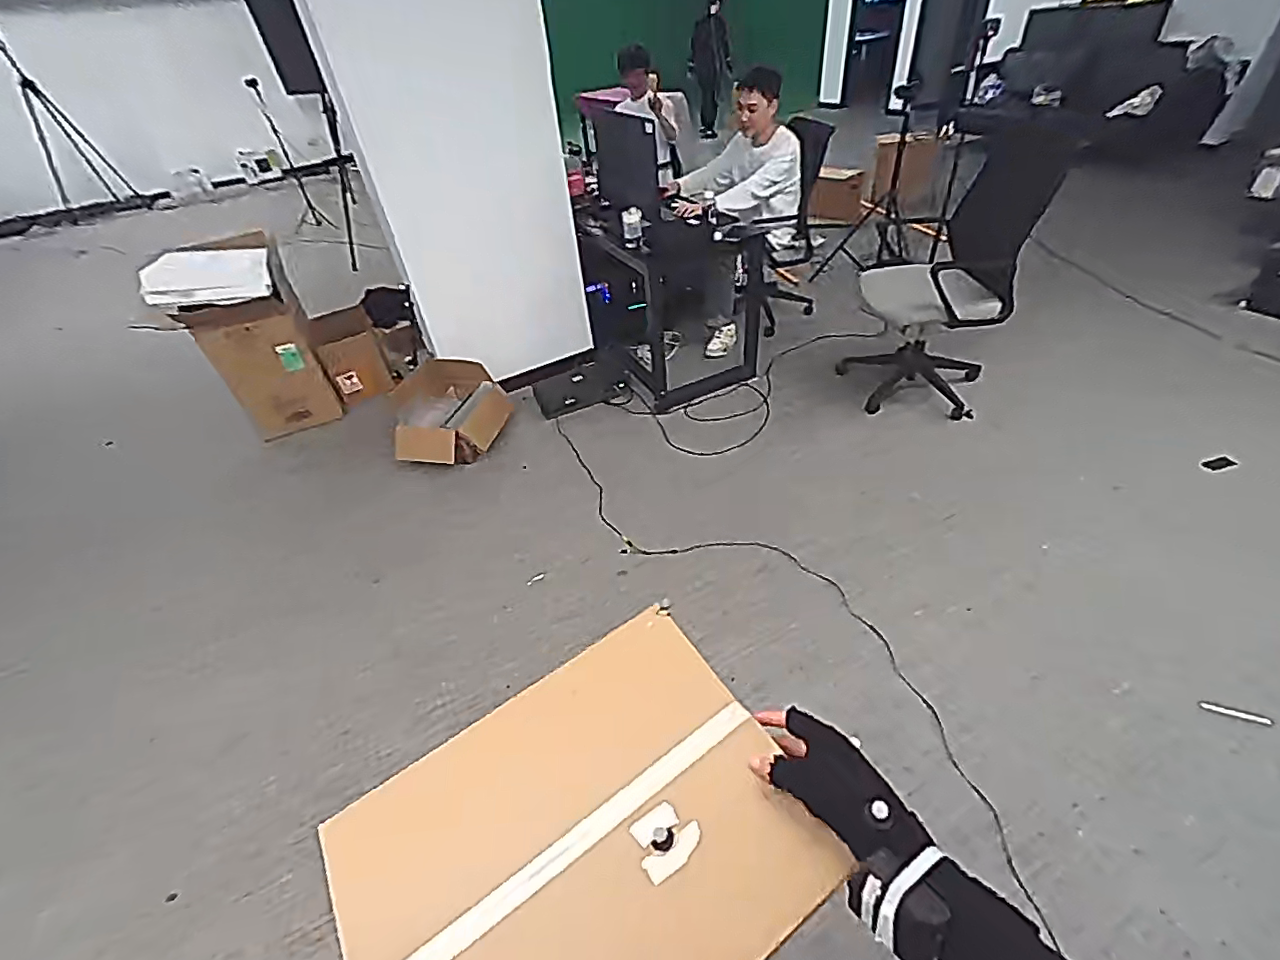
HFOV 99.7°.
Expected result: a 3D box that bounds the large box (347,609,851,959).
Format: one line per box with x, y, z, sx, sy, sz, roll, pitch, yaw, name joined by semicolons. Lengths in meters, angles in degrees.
-0.038;0.438;0.623;0.408;0.320;0.320;-29;51;-19;large box
